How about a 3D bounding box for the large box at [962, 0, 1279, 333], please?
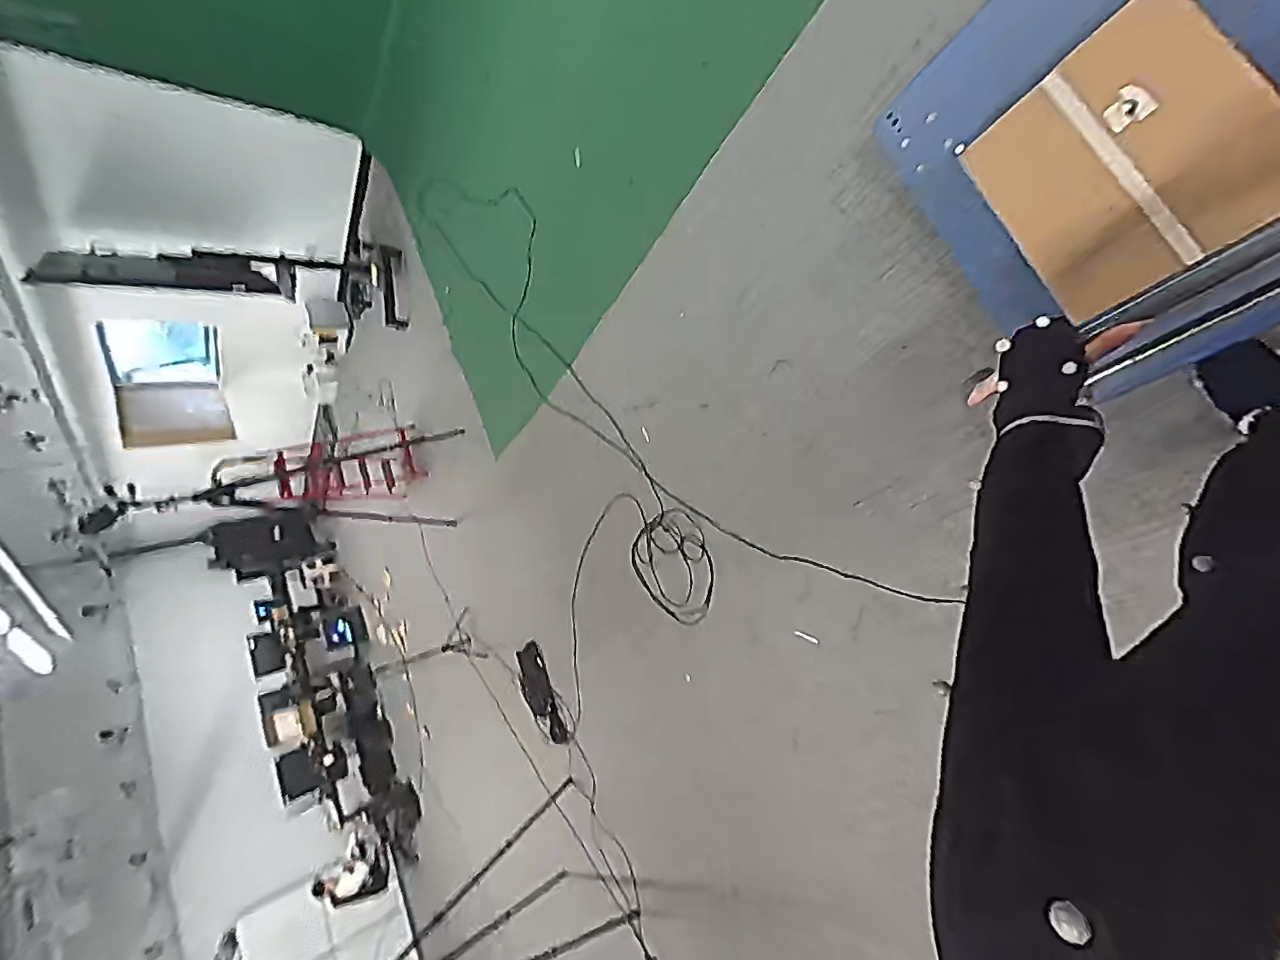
[{"bbox_3d":[0.874,-0.518,0.951,0.320,0.320,0.408,-37,69,46],"label":"large box"}]
